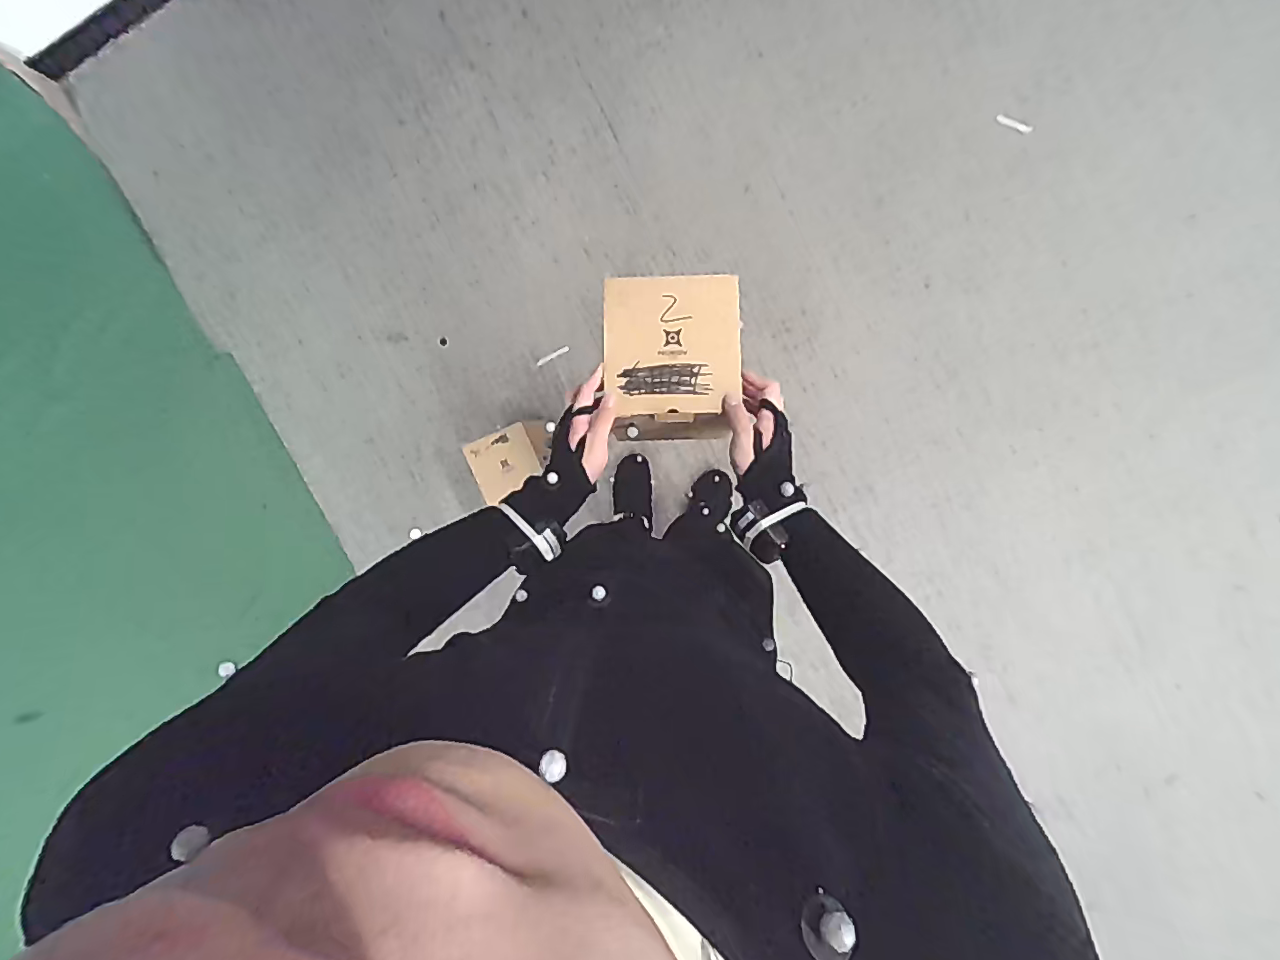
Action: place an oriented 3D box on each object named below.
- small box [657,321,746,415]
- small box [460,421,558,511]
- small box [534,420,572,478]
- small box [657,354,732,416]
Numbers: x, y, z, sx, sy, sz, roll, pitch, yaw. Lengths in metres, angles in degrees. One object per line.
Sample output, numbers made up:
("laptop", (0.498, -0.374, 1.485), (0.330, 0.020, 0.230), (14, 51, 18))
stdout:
("small box", (0.145, -0.268, 1.336), (0.168, 0.176, 0.179), (-20, 95, 4))
("small box", (-0.325, -0.042, 1.386), (0.168, 0.176, 0.179), (-22, 96, 5))
("small box", (-0.313, -0.065, 1.548), (0.179, 0.176, 0.168), (-21, 95, 5))
("small box", (0.148, -0.279, 1.496), (0.168, 0.176, 0.179), (-15, 96, 7))
